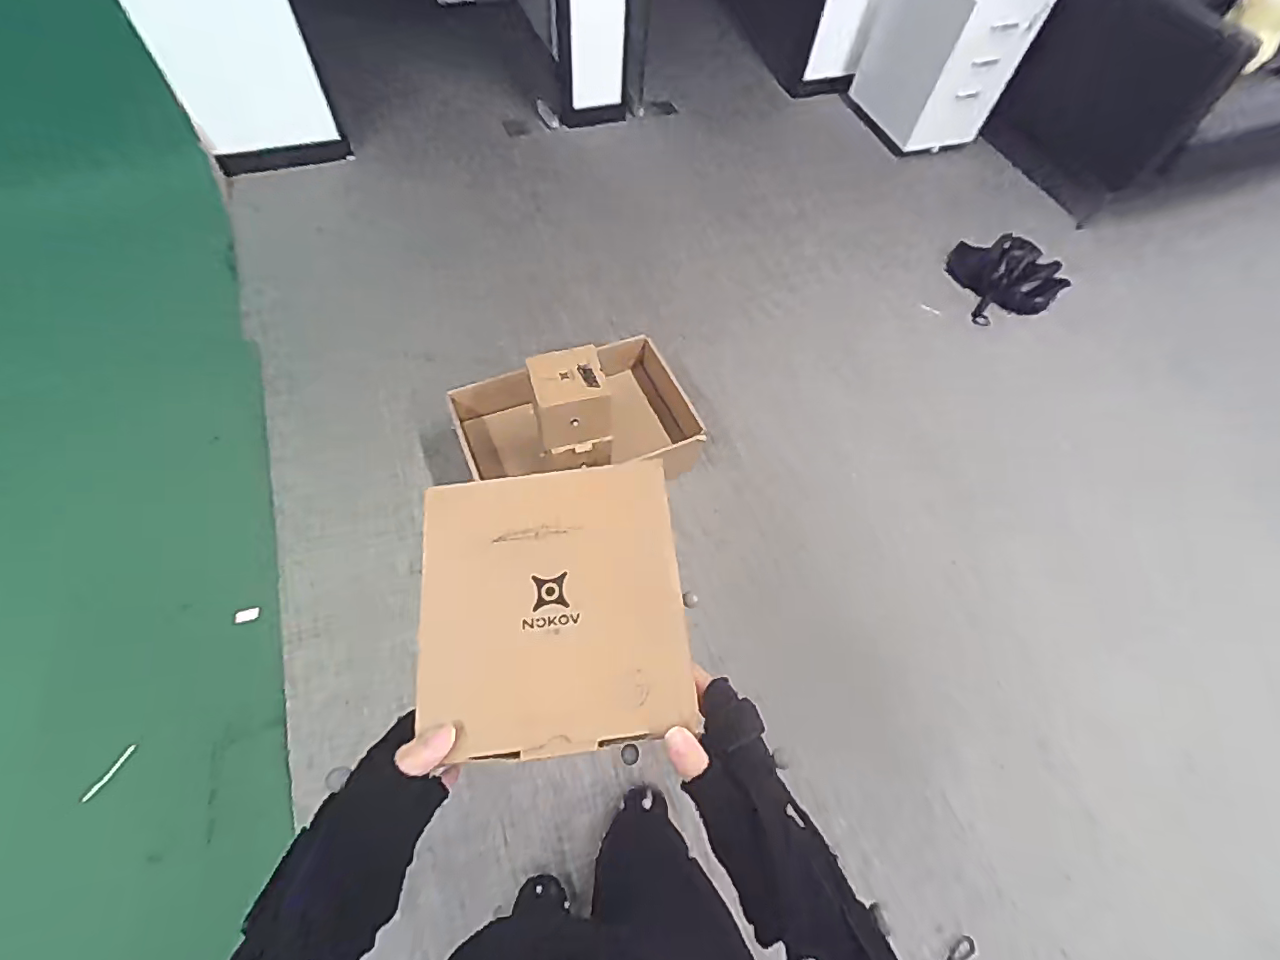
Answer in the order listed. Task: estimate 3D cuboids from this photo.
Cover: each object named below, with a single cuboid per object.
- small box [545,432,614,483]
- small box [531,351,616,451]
[{"bbox_3d":[-0.173,-0.107,1.494,0.168,0.176,0.179,-14,62,-13],"label":"small box"},{"bbox_3d":[-0.167,-0.196,1.356,0.179,0.176,0.168,-13,61,-12],"label":"small box"}]
